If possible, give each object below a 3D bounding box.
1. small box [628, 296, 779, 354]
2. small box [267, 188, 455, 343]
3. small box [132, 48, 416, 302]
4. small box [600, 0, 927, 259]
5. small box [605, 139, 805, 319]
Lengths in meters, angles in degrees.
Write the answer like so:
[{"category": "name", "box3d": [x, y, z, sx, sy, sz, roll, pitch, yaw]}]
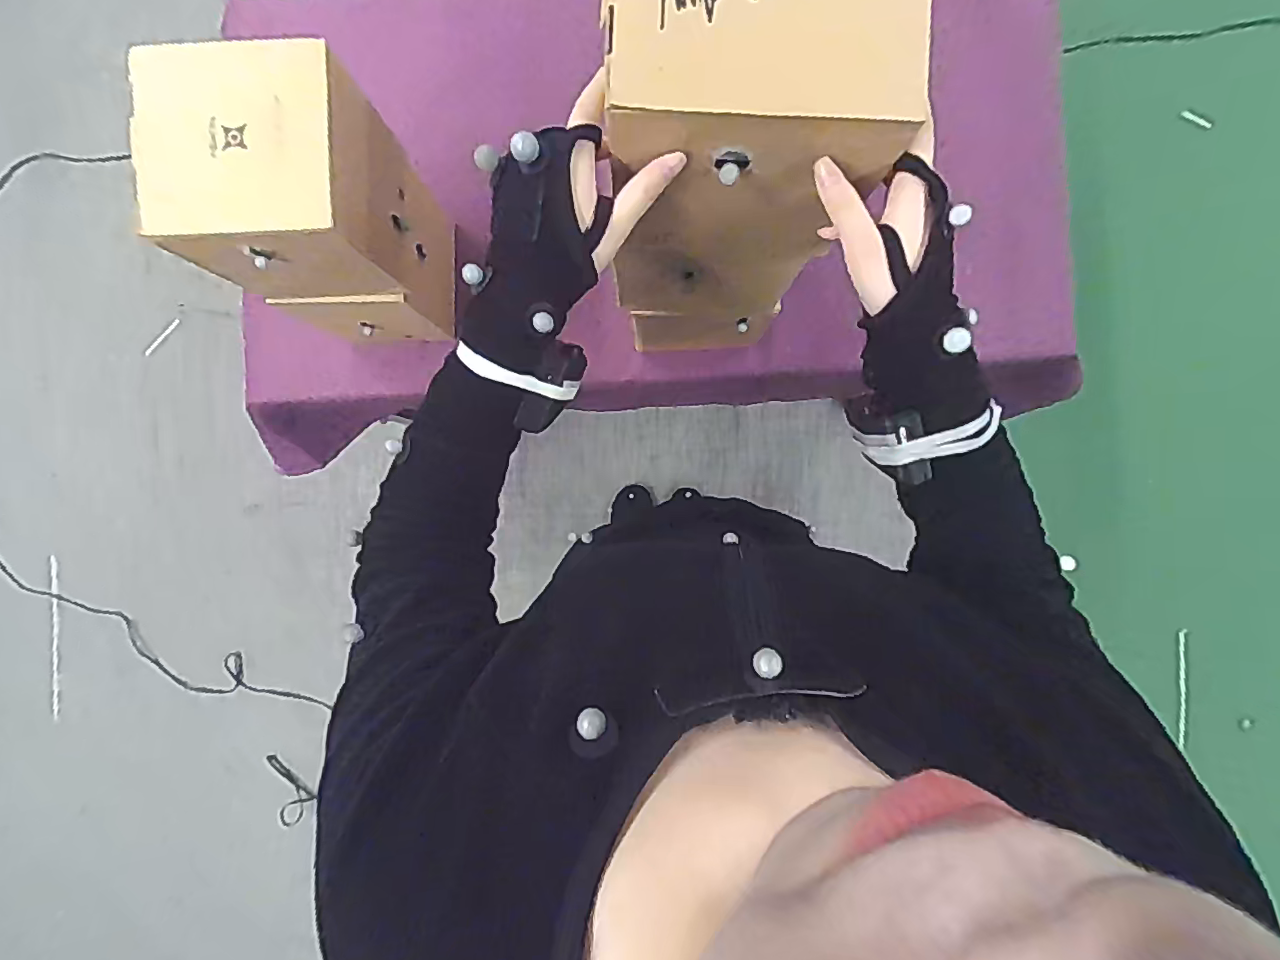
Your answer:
[{"category": "small box", "box3d": [0.074, -0.265, 0.703, 0.179, 0.176, 0.168, -2, 89, 1]}, {"category": "small box", "box3d": [-0.353, -0.284, 0.711, 0.168, 0.176, 0.179, 0, 89, 1]}, {"category": "small box", "box3d": [-0.351, -0.287, 0.547, 0.179, 0.176, 0.168, -2, 91, 2]}, {"category": "small box", "box3d": [0.070, -0.268, 0.374, 0.179, 0.176, 0.168, 3, 89, 0]}, {"category": "small box", "box3d": [0.063, -0.268, 0.539, 0.179, 0.176, 0.168, 3, 90, 2]}]
